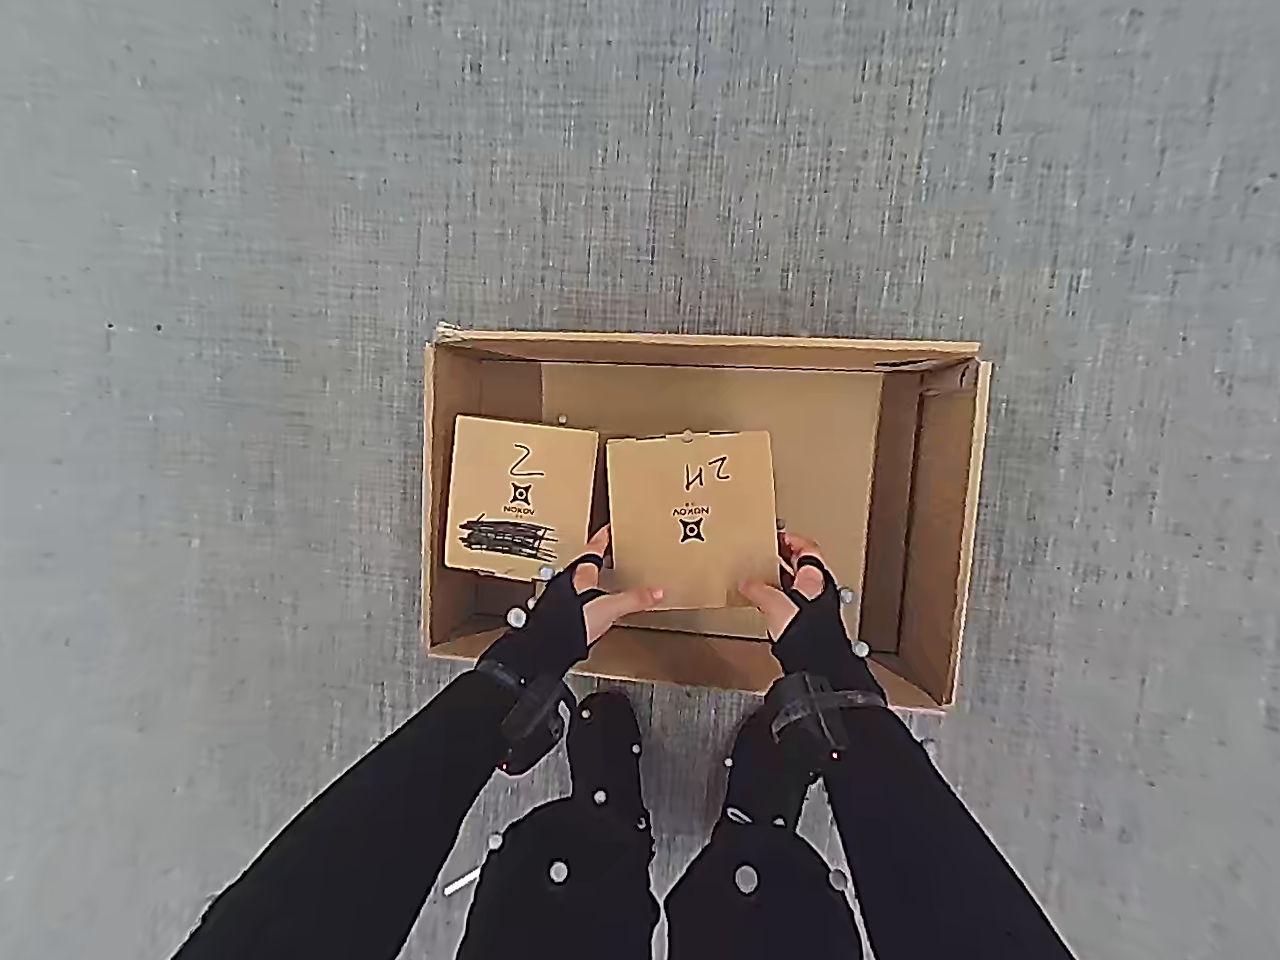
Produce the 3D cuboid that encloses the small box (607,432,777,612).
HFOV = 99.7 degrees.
[{"bbox_3d":[0.059,0.043,0.616,0.168,0.176,0.179,-3,88,5],"label":"small box"}]
